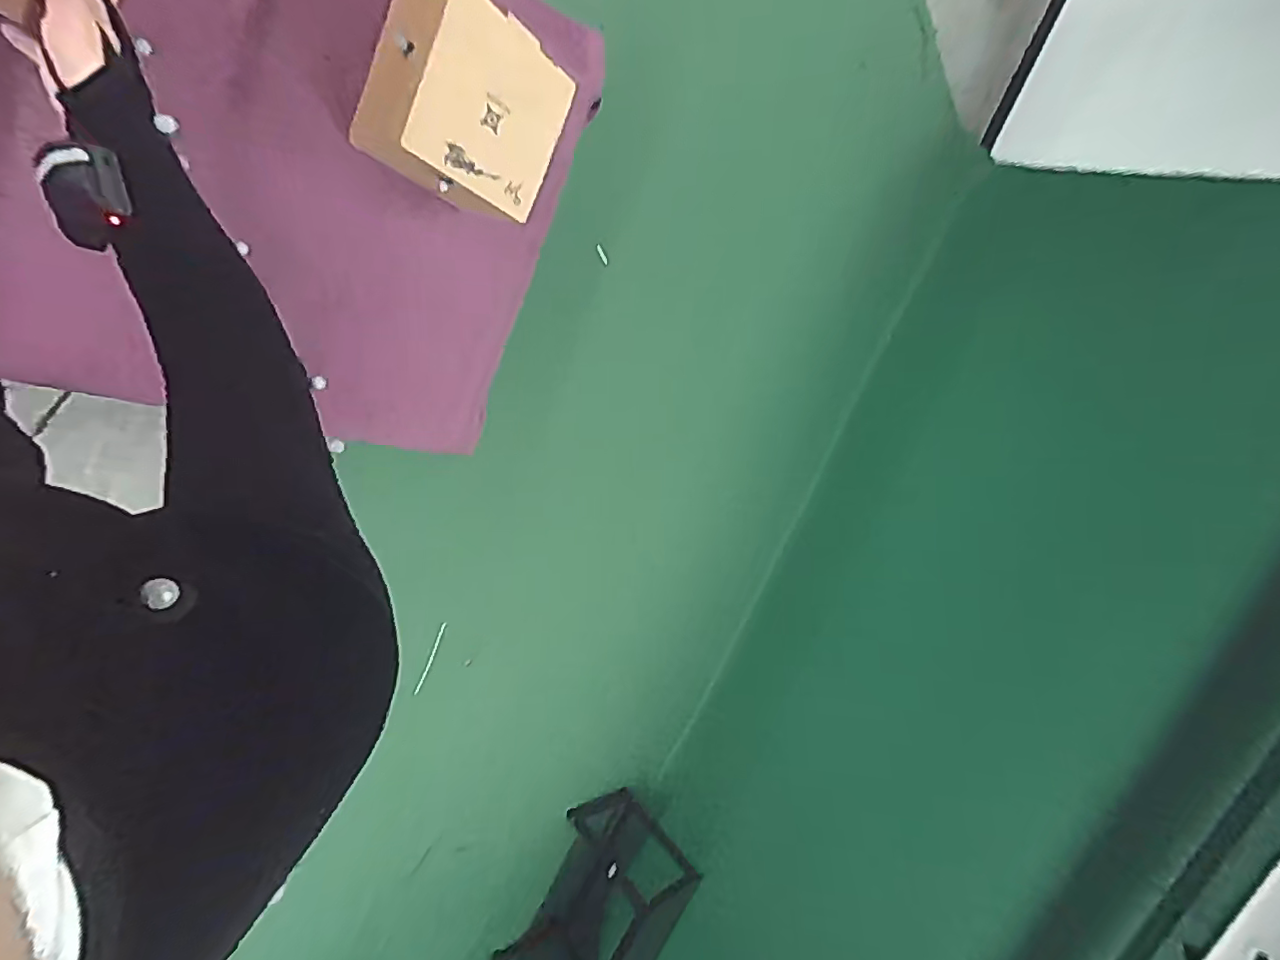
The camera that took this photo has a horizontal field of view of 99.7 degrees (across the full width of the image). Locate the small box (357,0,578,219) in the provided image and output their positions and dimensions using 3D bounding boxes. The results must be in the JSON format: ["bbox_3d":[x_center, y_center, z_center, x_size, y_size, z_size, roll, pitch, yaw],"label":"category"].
[{"bbox_3d":[-0.210,-0.446,0.647,0.168,0.176,0.179,14,104,-49],"label":"small box"}]
